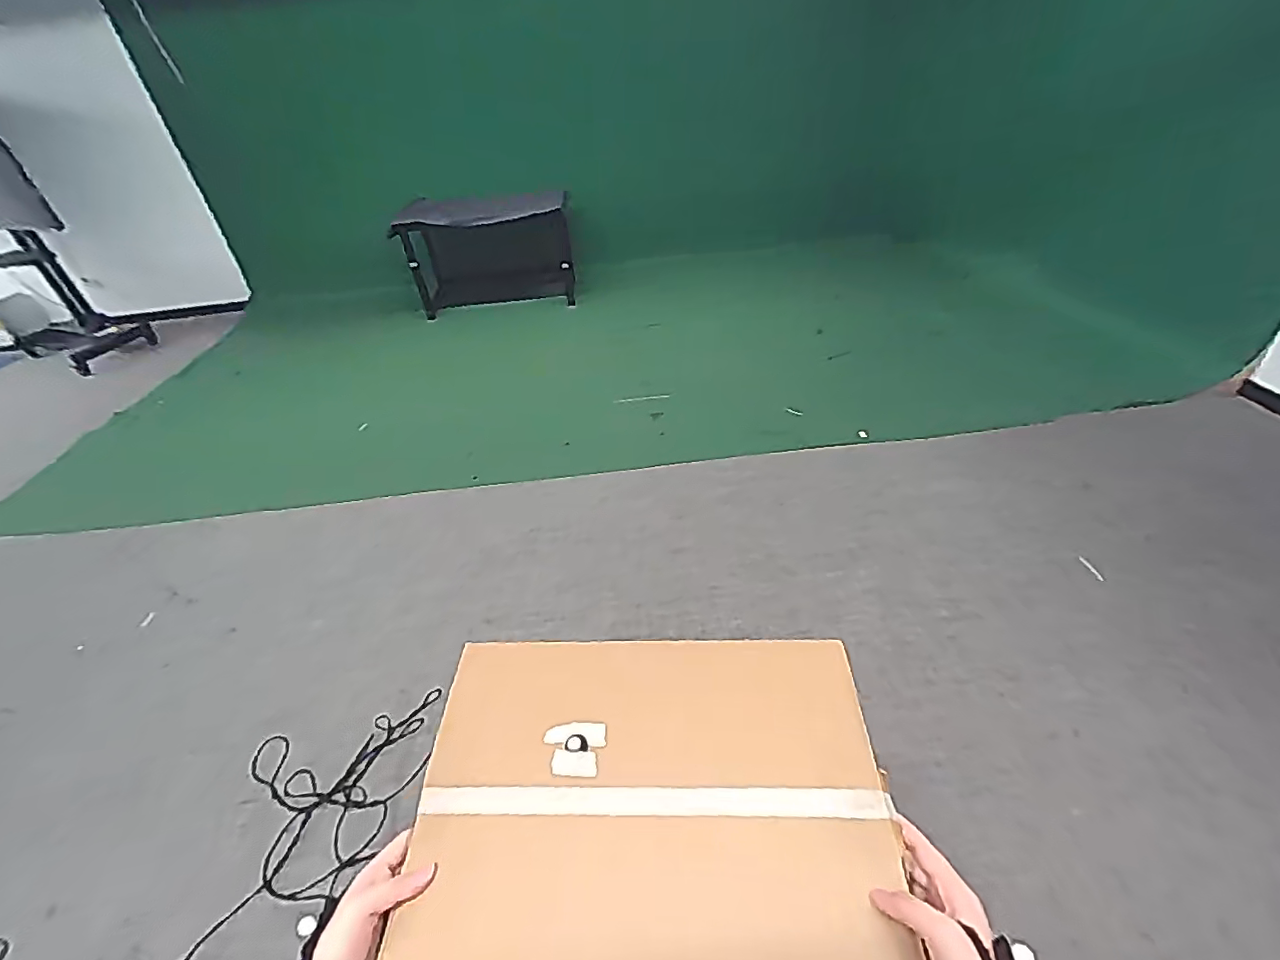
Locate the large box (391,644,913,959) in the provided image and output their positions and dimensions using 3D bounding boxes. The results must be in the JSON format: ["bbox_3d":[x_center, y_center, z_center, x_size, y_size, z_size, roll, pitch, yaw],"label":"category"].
[{"bbox_3d":[0.020,0.397,0.582,0.408,0.320,0.320,-3,44,5],"label":"large box"}]
